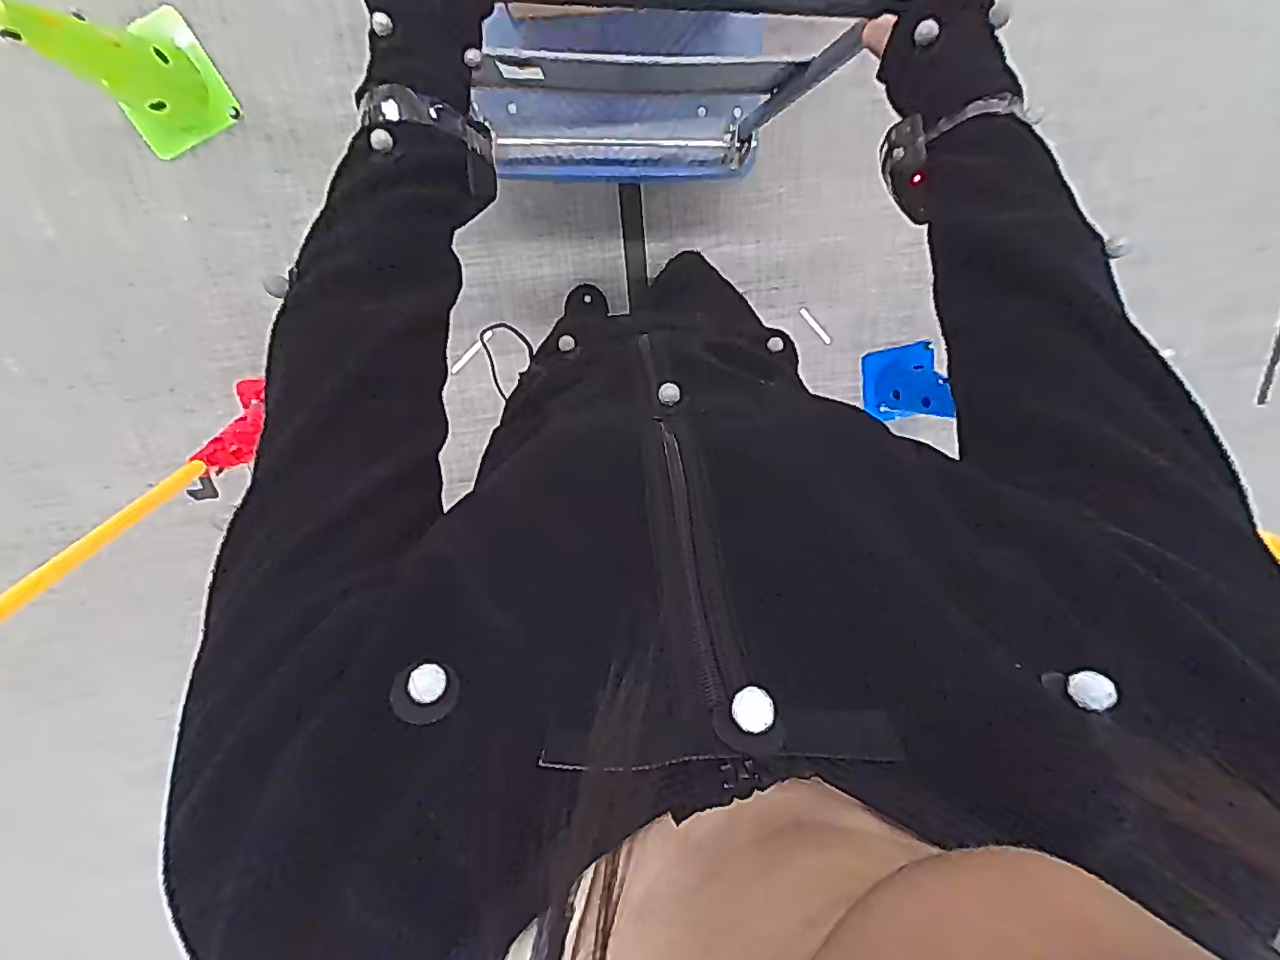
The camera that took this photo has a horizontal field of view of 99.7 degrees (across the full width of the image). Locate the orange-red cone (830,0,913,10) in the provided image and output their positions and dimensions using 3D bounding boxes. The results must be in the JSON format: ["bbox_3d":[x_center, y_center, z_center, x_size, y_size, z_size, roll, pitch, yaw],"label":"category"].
[{"bbox_3d":[0.504,-1.020,0.940,0.199,0.360,0.198,-2,112,-8],"label":"orange-red cone"}]

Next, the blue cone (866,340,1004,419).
[{"bbox_3d":[0.719,-0.209,1.297,0.193,0.380,0.192,-12,111,-3],"label":"blue cone"}]
